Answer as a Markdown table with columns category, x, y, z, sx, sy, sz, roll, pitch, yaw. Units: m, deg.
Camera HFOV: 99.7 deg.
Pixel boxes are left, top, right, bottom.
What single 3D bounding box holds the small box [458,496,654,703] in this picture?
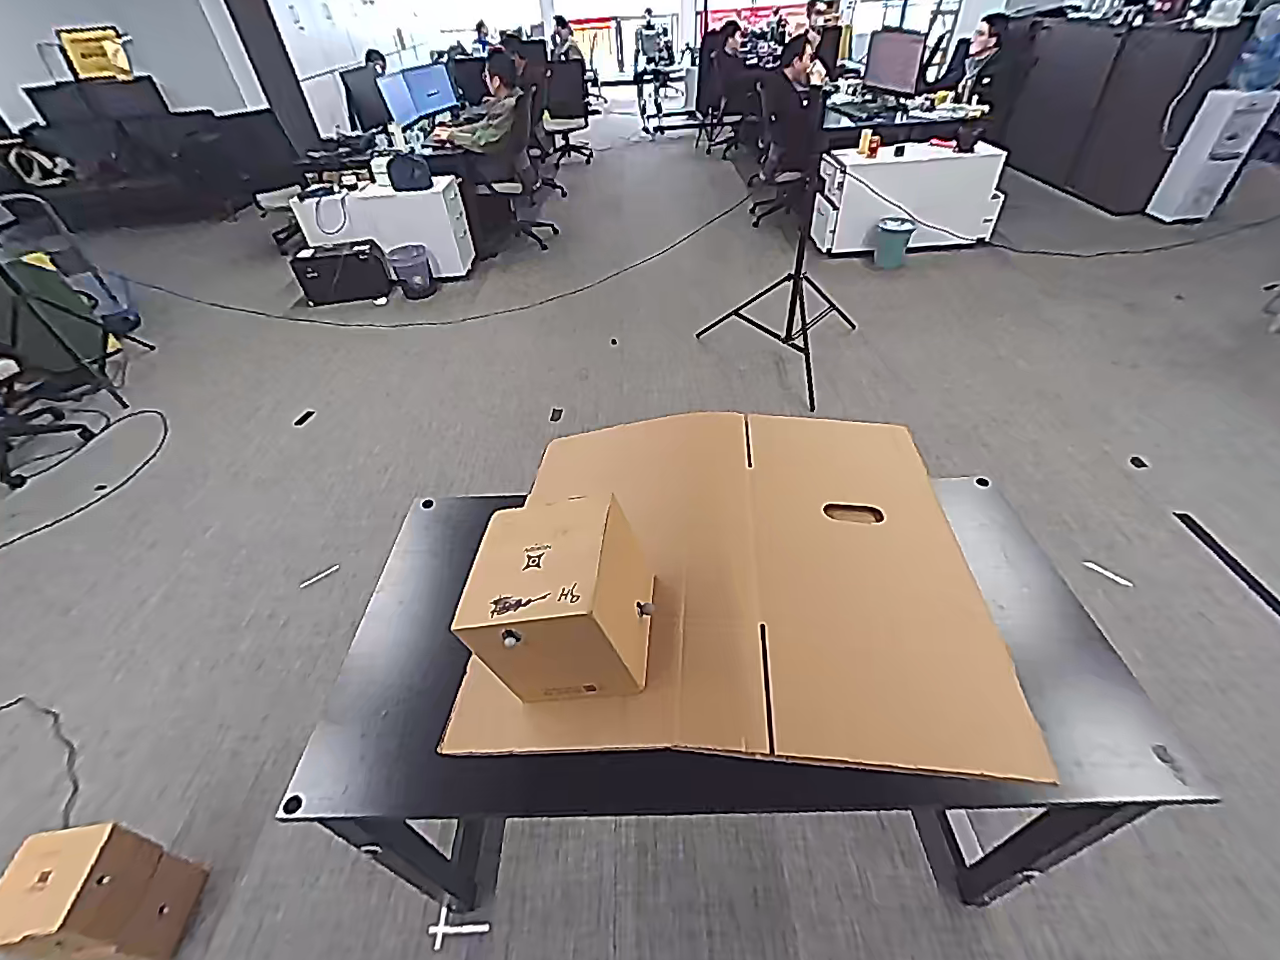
| category | x | y | z | sx | sy | sz | roll | pitch | yaw |
| --- | --- | --- | --- | --- | --- | --- | --- | --- | --- |
| small box | -0.087 | 0.148 | 0.666 | 0.168 | 0.176 | 0.179 | -12 | 39 | 16 |

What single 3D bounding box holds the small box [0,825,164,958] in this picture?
| category | x | y | z | sx | sy | sz | roll | pitch | yaw |
| --- | --- | --- | --- | --- | --- | --- | --- | --- | --- |
| small box | -1.119 | 0.826 | 1.081 | 0.168 | 0.176 | 0.179 | -7 | 41 | -4 |

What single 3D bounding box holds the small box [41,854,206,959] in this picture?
| category | x | y | z | sx | sy | sz | roll | pitch | yaw |
| --- | --- | --- | --- | --- | --- | --- | --- | --- | --- |
| small box | -1.108 | 0.951 | 1.184 | 0.168 | 0.176 | 0.179 | -5 | 42 | -1 |
